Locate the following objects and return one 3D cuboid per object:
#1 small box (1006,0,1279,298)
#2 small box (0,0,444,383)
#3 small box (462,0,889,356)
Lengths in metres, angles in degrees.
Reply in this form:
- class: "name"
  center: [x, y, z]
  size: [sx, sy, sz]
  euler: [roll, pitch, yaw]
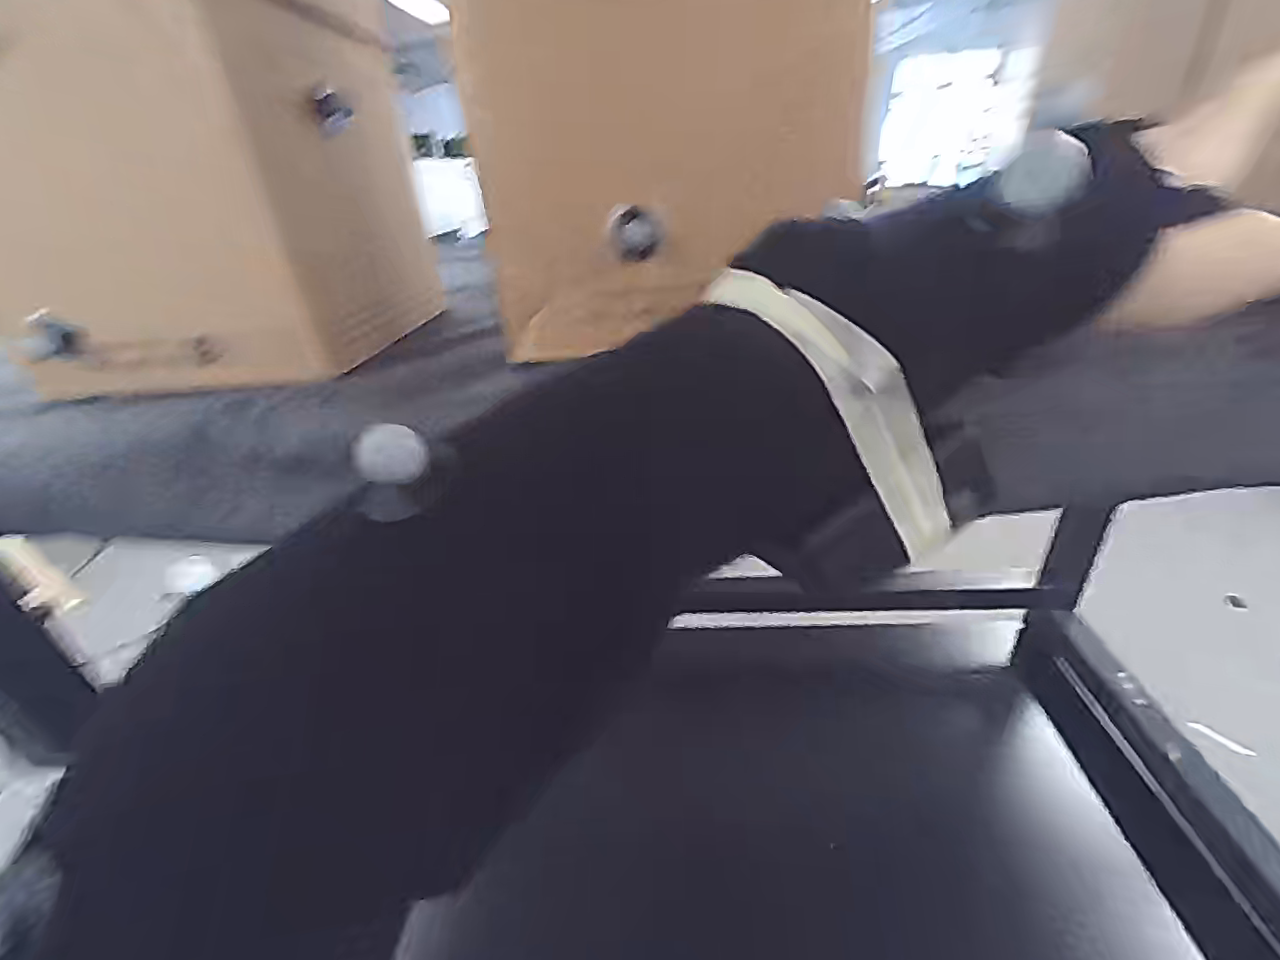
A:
- class: "small box"
  center: [0.316, -0.190, 0.267]
  size: [0.168, 0.176, 0.179]
  euler: [2, 30, 14]
- class: "small box"
  center: [-0.235, -0.159, 0.317]
  size: [0.168, 0.176, 0.179]
  euler: [-3, 28, 4]
- class: "small box"
  center: [0.019, -0.173, 0.298]
  size: [0.168, 0.176, 0.179]
  euler: [-3, 29, 6]
